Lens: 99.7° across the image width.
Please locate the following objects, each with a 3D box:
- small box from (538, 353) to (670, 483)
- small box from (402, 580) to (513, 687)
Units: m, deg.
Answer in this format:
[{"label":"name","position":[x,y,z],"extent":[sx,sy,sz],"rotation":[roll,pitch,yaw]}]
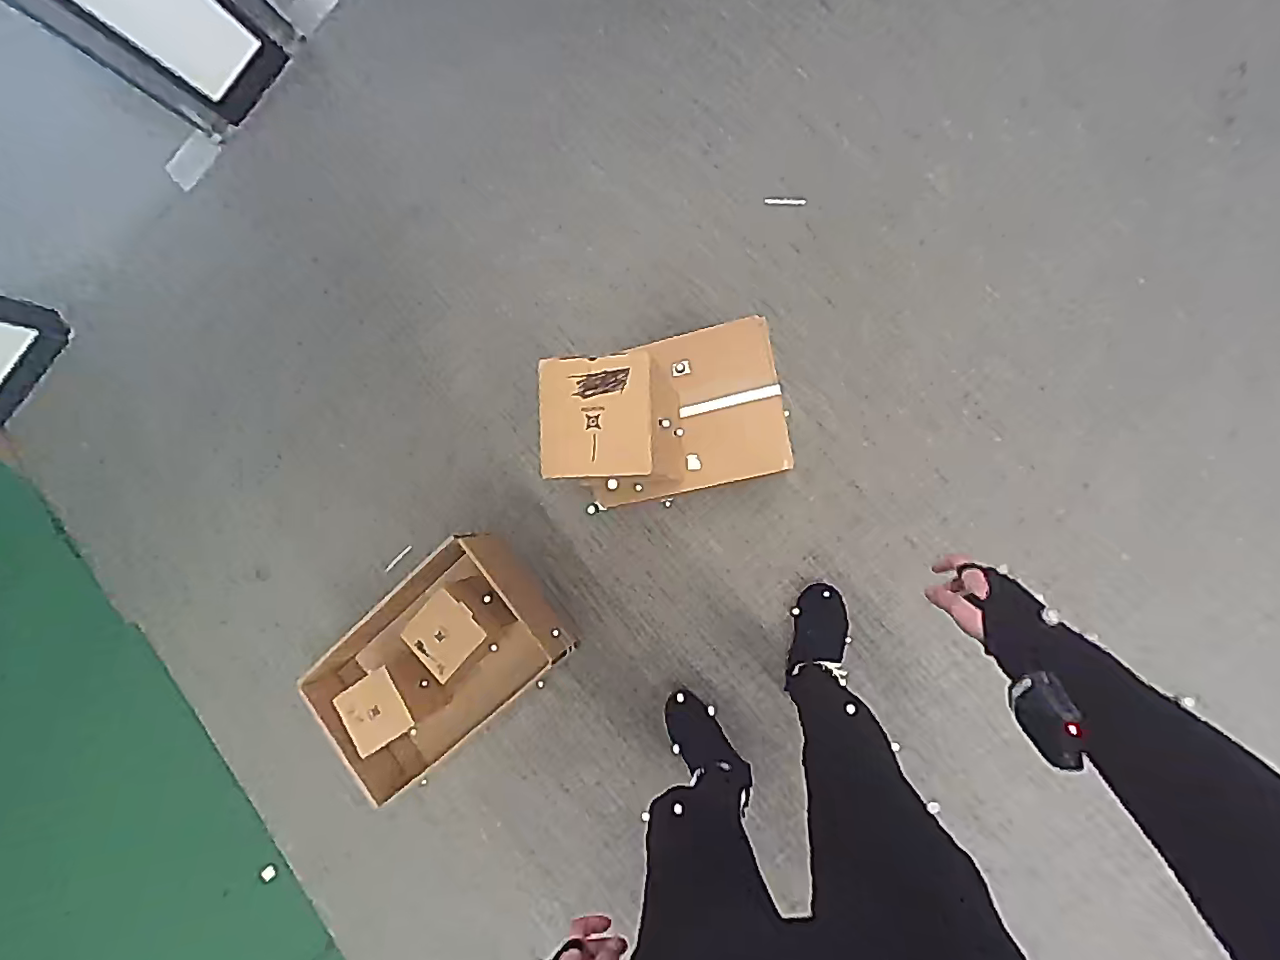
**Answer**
[{"label":"small box","position":[-0.048,-0.086,0.835],"extent":[0.168,0.176,0.179],"rotation":[-2,89,13]},{"label":"small box","position":[-0.442,0.372,1.350],"extent":[0.168,0.176,0.179],"rotation":[44,98,10]}]
